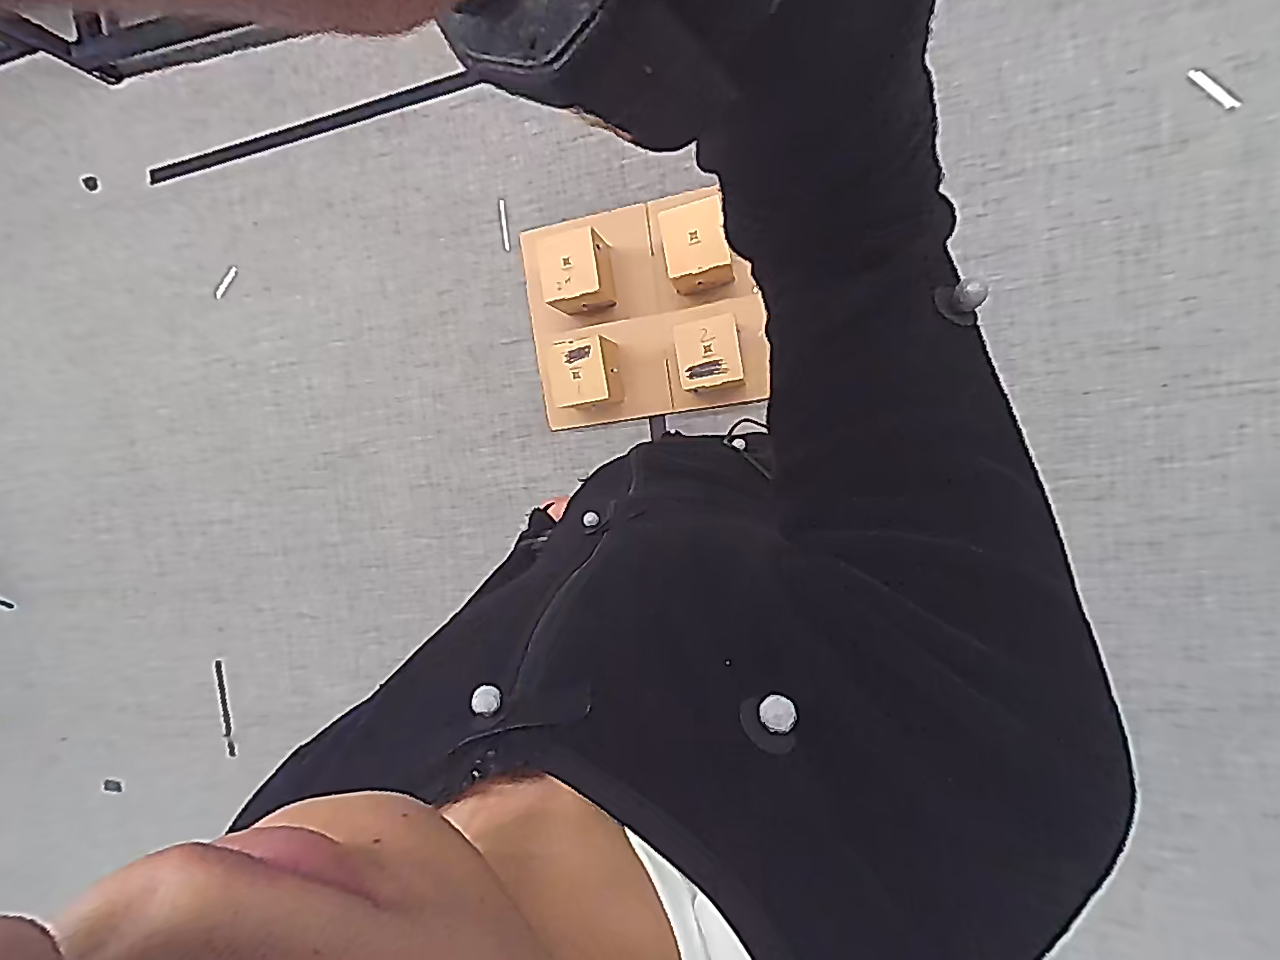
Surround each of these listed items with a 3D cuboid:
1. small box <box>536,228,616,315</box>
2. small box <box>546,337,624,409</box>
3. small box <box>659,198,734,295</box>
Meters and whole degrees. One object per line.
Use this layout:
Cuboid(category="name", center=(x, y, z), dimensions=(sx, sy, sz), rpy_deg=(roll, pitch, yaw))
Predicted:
Cuboid(category="small box", center=(-0.176, -0.586, 1.539), dimensions=(0.168, 0.176, 0.179), rpy_deg=(-7, 95, 14))
Cuboid(category="small box", center=(-0.155, -0.303, 1.566), dimensions=(0.168, 0.176, 0.179), rpy_deg=(-8, 95, 14))
Cuboid(category="small box", center=(0.157, -0.624, 1.465), dimensions=(0.168, 0.176, 0.179), rpy_deg=(-11, 94, 14))
